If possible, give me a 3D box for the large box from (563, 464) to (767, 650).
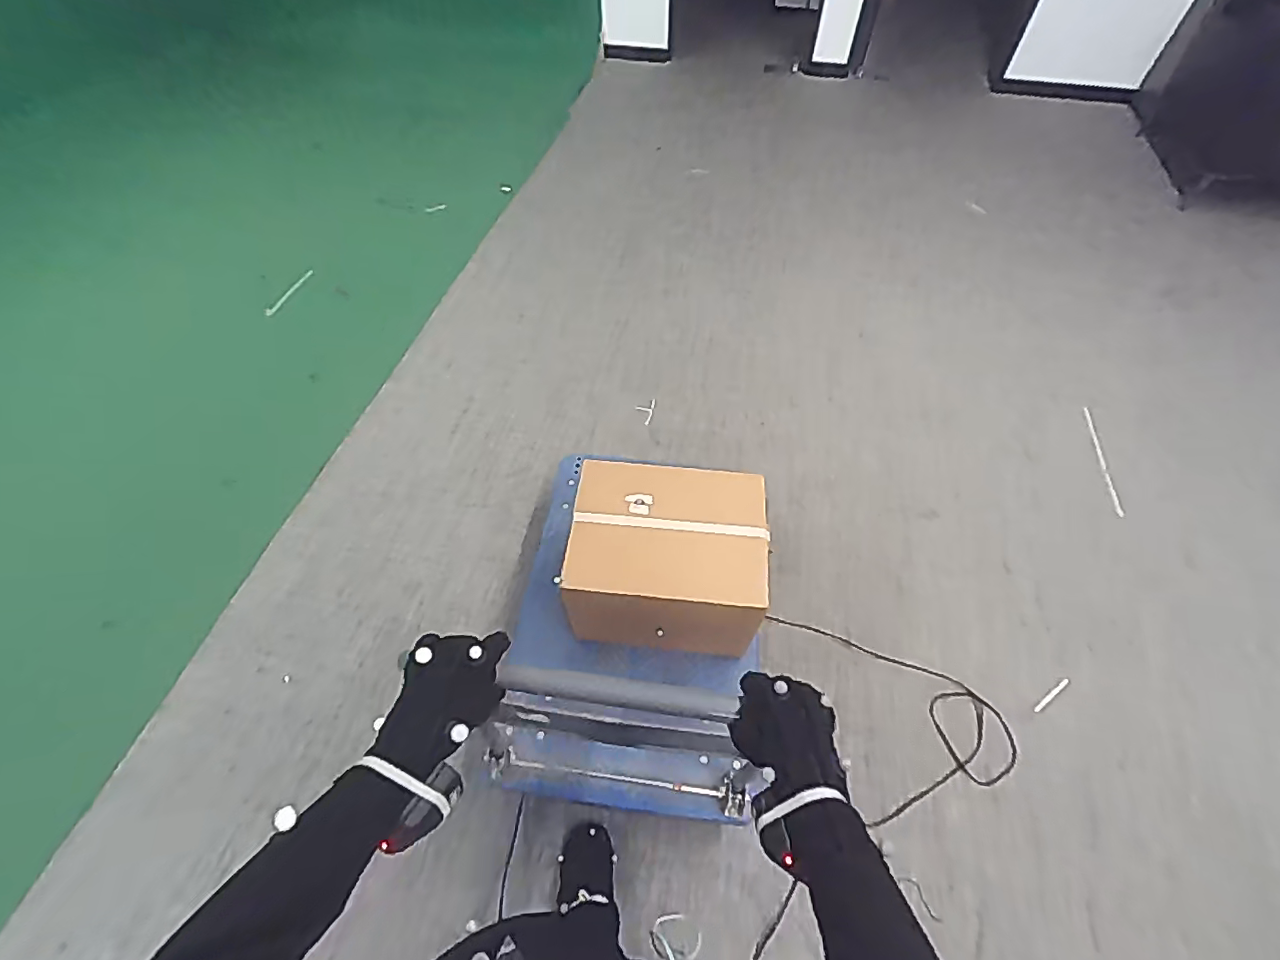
[{"bbox_3d":[0.065,0.185,1.251,0.408,0.320,0.320,4,55,5],"label":"large box"}]
